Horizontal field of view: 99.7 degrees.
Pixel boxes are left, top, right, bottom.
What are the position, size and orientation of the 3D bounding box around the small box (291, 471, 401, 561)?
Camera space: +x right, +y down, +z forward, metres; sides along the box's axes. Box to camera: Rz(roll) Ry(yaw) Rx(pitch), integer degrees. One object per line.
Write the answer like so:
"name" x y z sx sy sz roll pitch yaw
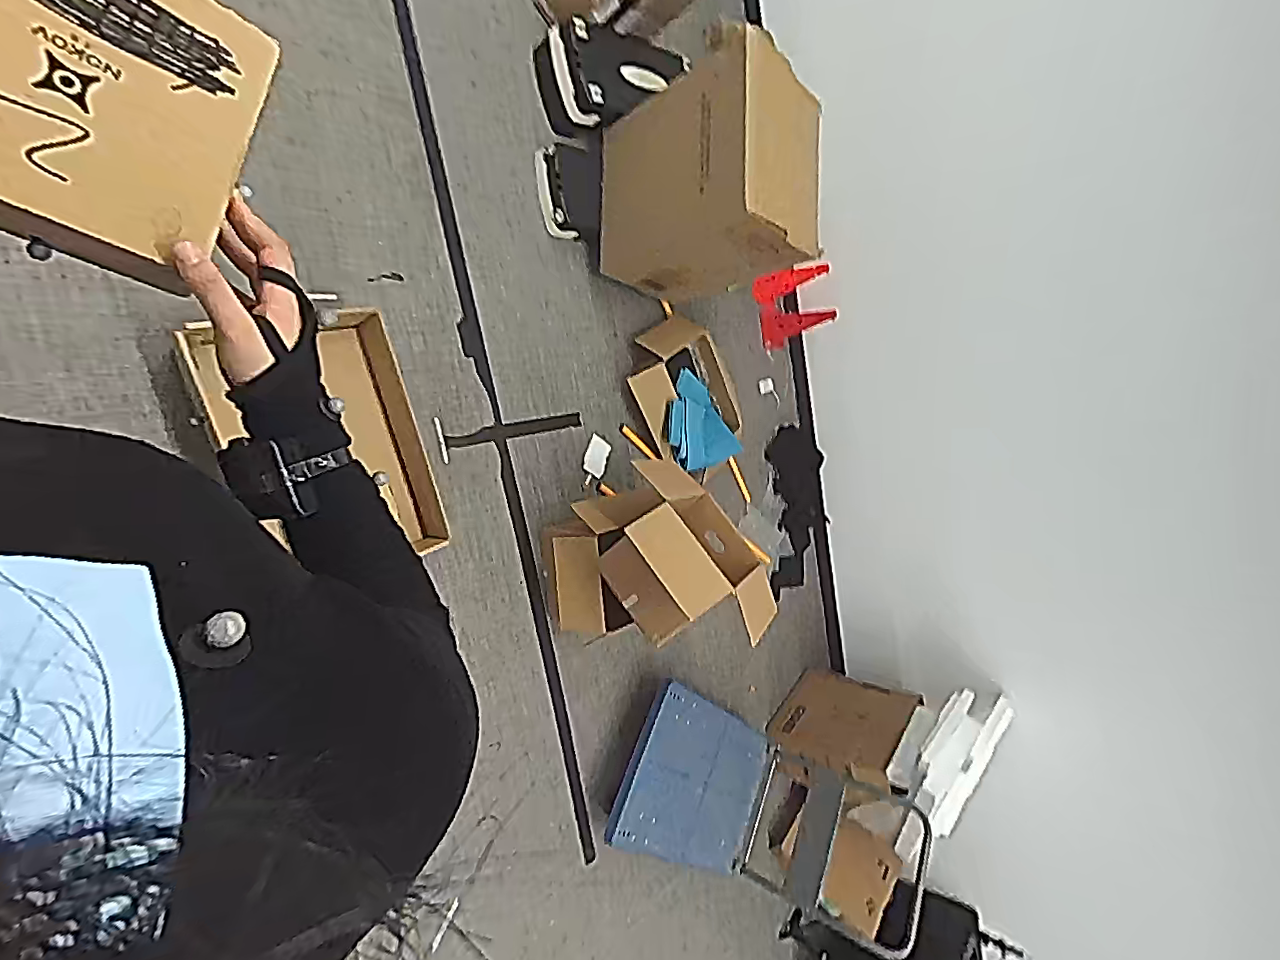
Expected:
"small box" -0.708 0.082 1.293 0.179 0.176 0.168 -23 105 -44
